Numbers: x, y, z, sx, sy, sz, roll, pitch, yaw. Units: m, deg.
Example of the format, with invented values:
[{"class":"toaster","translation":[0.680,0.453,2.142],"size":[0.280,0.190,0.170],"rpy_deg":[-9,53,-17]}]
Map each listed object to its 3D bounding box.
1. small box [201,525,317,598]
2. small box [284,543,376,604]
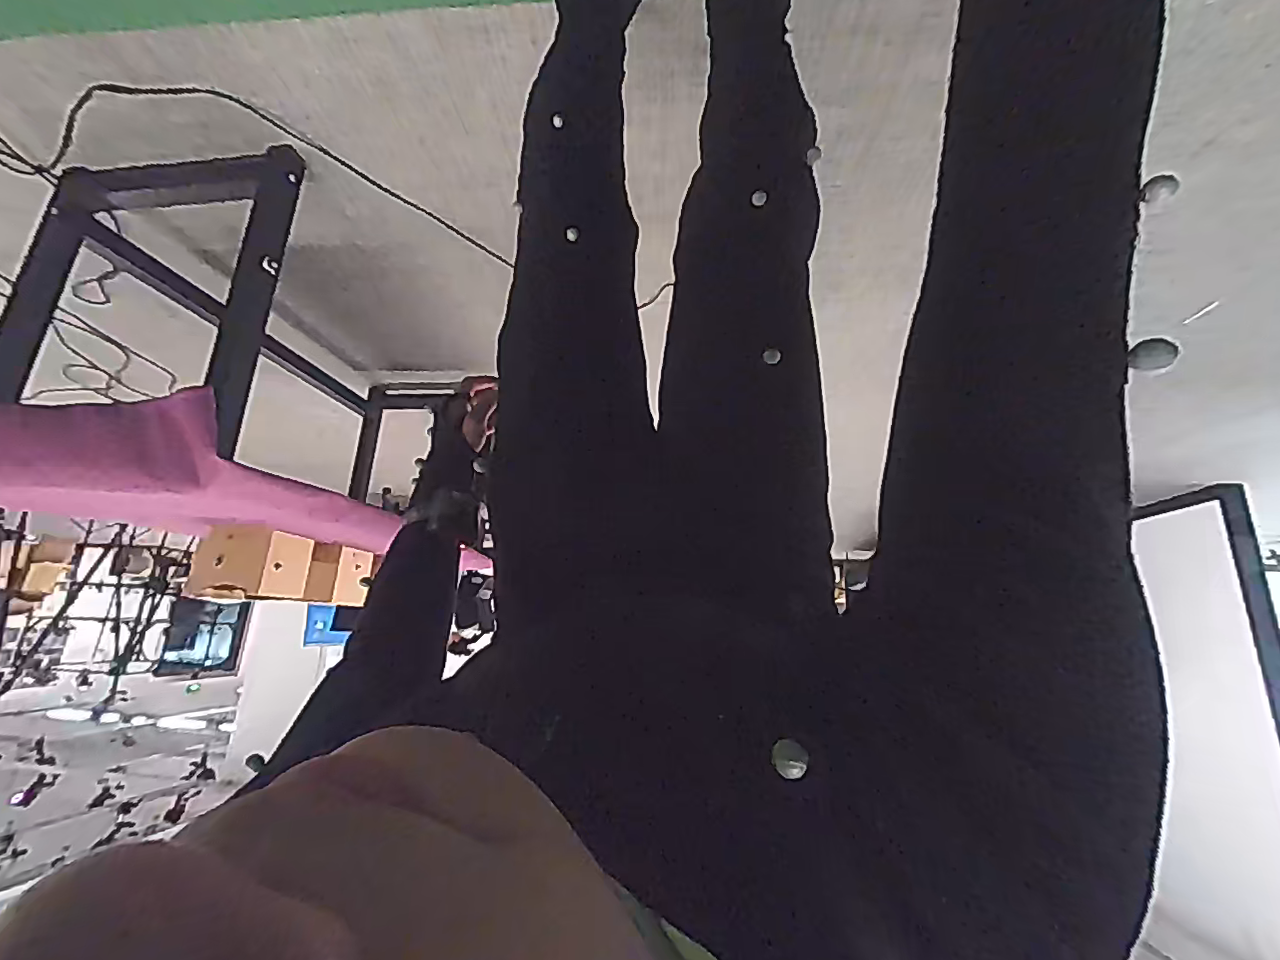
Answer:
[{"class":"small box","translation":[-0.982,0.215,1.409],"size":[0.168,0.176,0.179],"rpy_deg":[2,165,3]},{"class":"small box","translation":[-0.948,0.288,1.667],"size":[0.179,0.176,0.168],"rpy_deg":[1,165,6]}]
